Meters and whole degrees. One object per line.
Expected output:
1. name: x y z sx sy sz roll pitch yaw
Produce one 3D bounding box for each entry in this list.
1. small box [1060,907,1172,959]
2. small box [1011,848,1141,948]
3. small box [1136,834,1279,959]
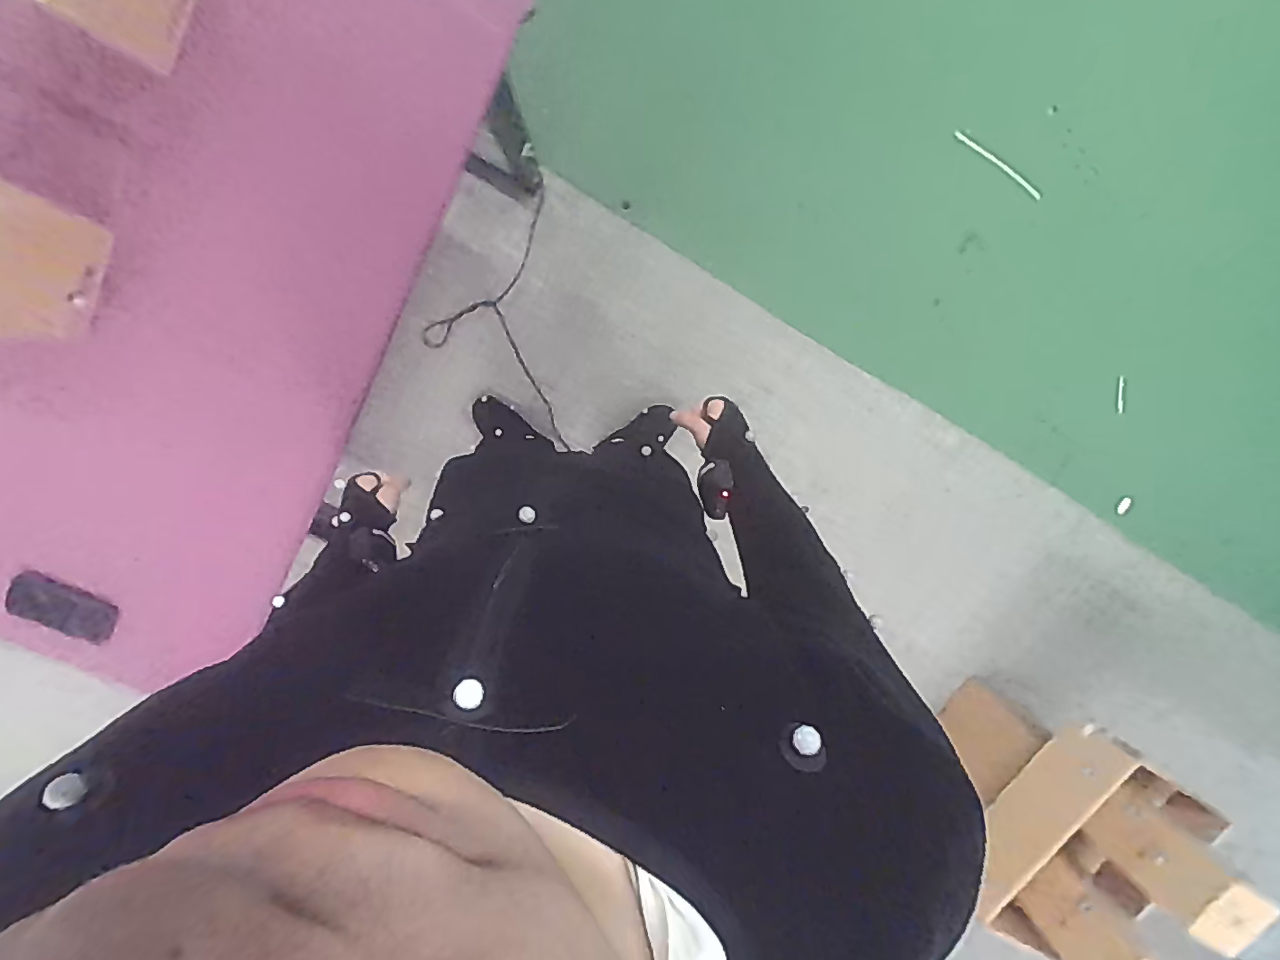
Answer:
1. small box: 1.179 1.185 1.302 0.179 0.176 0.168 34 99 -11
2. small box: 1.169 1.148 1.462 0.179 0.176 0.168 34 99 -9
3. small box: 1.343 0.978 1.263 0.179 0.176 0.168 32 98 -10
